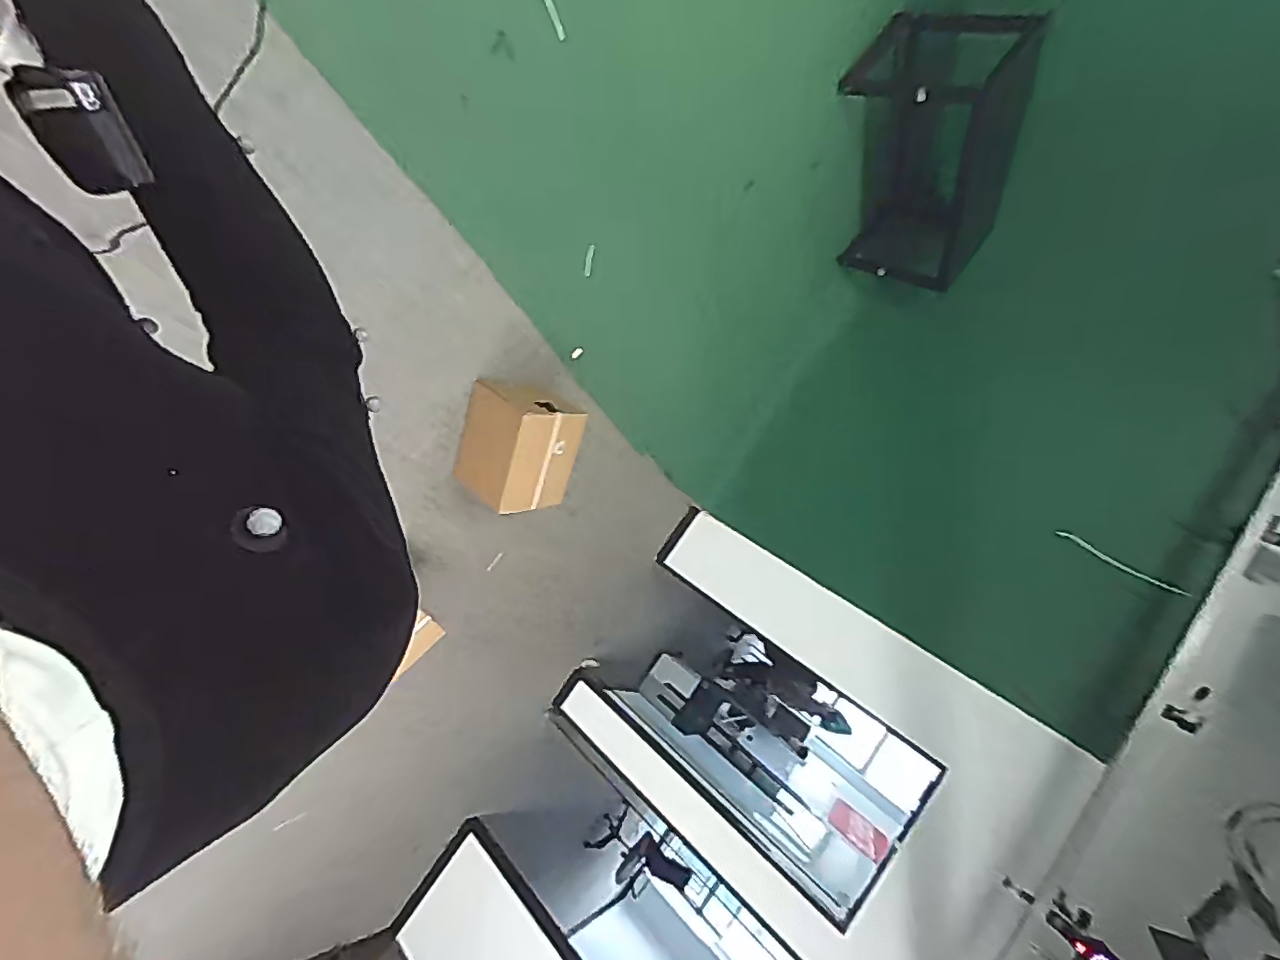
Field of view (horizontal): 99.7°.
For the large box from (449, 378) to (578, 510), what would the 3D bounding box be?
[{"bbox_3d":[-0.495,-0.148,2.084,0.320,0.320,0.408,-10,125,-52],"label":"large box"}]
